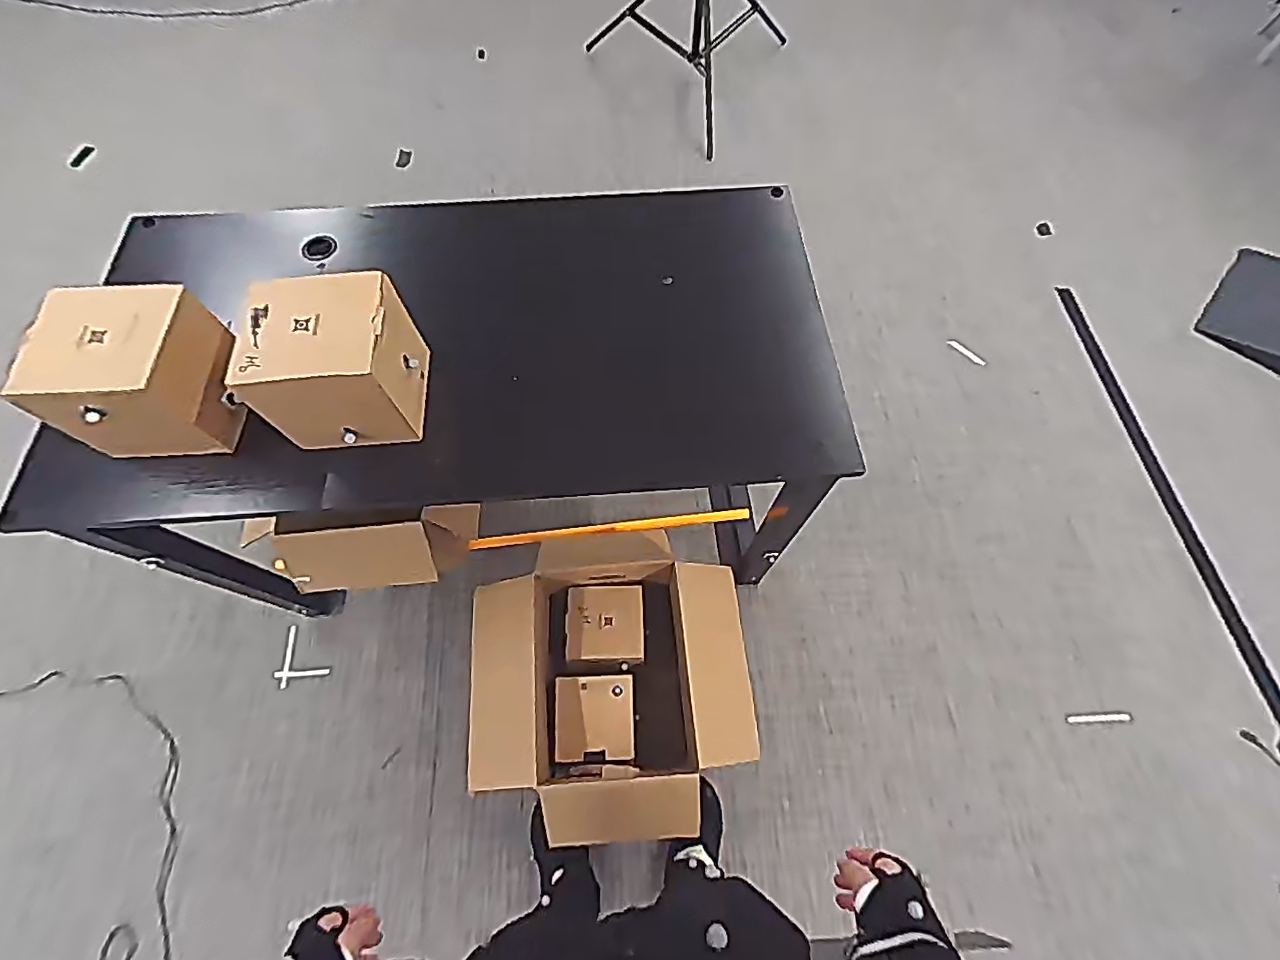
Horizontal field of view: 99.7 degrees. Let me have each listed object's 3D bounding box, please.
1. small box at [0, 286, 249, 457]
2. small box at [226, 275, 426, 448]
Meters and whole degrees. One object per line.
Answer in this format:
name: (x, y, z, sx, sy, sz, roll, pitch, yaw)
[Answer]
small box: (-0.673, -0.140, 0.737, 0.179, 0.176, 0.168, -2, 66, -2)
small box: (-0.410, -0.156, 0.745, 0.179, 0.176, 0.168, -5, 65, -3)
